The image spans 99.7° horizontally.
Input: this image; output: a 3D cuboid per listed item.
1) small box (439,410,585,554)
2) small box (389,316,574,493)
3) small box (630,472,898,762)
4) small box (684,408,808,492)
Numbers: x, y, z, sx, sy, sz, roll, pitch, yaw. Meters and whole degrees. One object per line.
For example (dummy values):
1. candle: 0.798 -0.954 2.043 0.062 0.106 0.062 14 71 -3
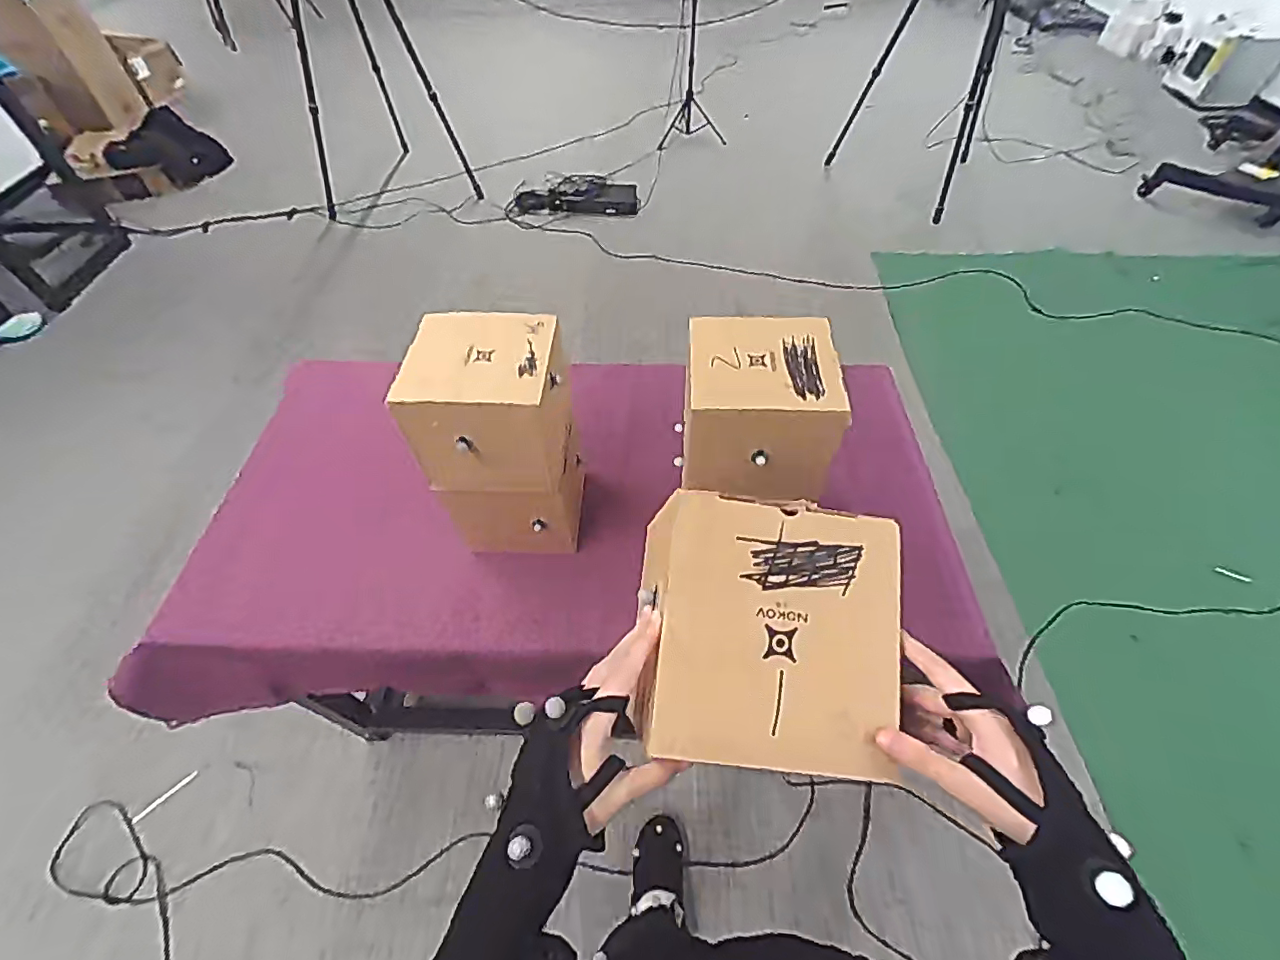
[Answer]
1. small box: -0.184 0.003 0.842 0.179 0.176 0.168 1 51 2
2. small box: -0.190 -0.096 0.711 0.179 0.176 0.168 1 52 2
3. small box: 0.087 0.108 0.444 0.168 0.176 0.179 8 76 -4
4. small box: 0.151 0.010 0.831 0.168 0.176 0.179 2 52 3
